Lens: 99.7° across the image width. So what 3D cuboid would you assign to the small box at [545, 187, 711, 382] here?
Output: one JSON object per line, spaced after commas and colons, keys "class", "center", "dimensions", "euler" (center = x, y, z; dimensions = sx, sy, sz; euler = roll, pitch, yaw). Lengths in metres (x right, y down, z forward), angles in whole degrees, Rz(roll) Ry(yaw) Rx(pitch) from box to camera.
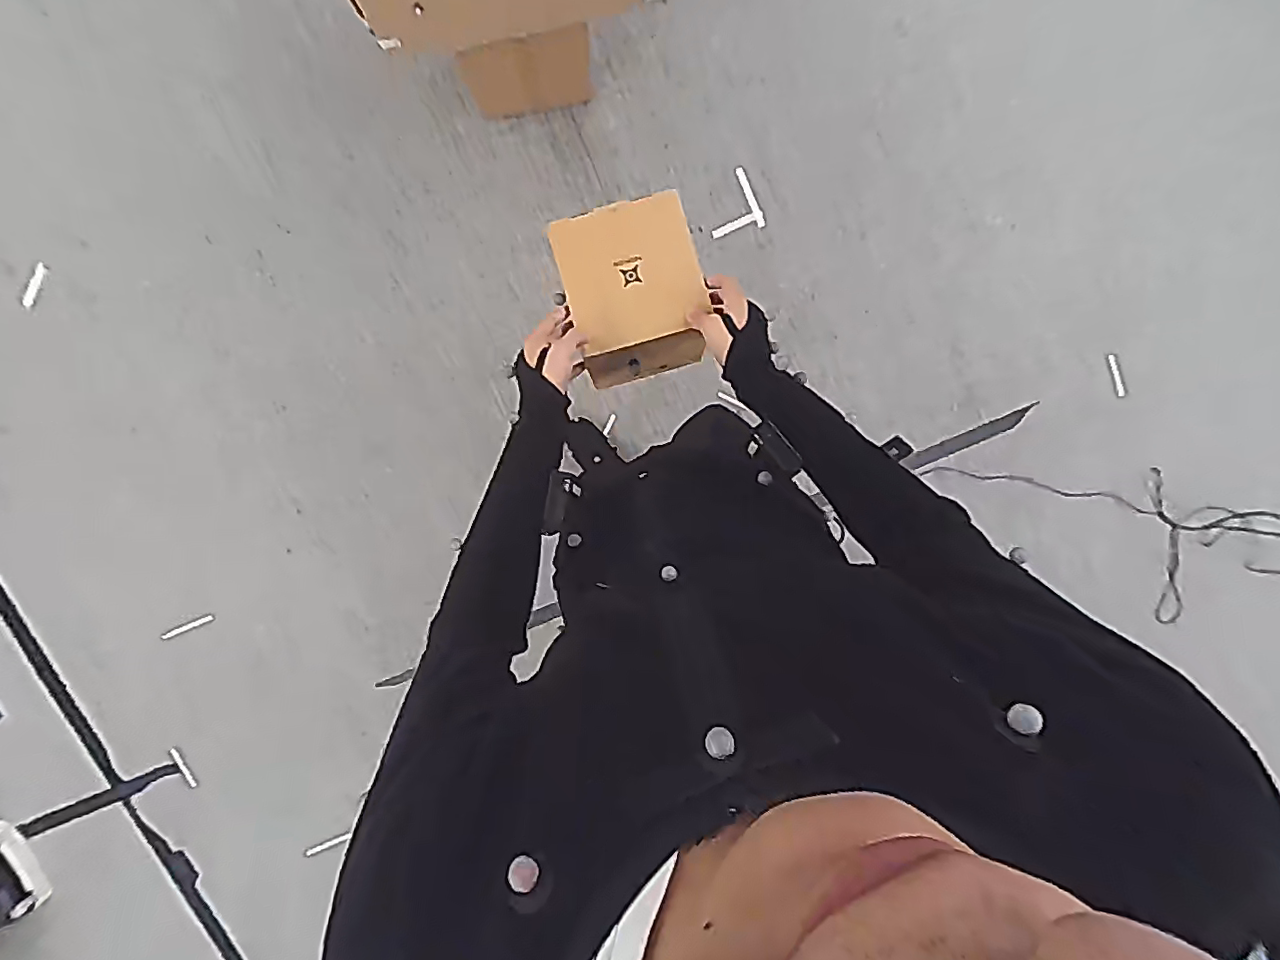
{"class": "small box", "center": [-0.013, -0.242, 0.719], "dimensions": [0.168, 0.176, 0.179], "euler": [-15, 85, -1]}
